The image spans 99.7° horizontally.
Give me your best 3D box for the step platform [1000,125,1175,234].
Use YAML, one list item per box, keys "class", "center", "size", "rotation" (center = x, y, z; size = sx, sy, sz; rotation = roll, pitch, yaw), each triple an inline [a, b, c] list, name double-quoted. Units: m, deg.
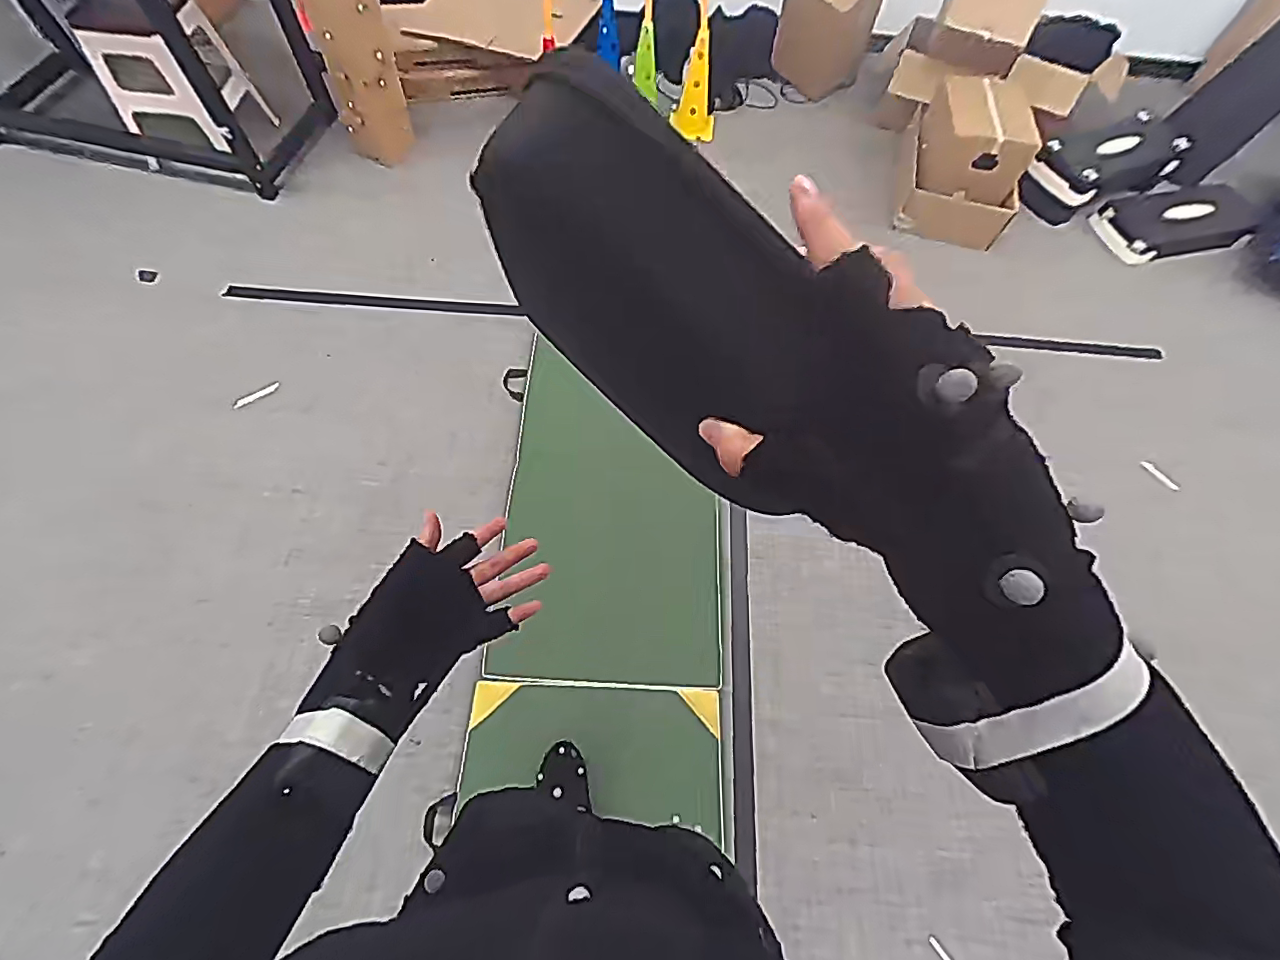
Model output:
- class: "step platform"
  center: [1.943, -1.310, 2.346]
  size: [0.684, 0.204, 0.286]
  rotation: [-23, 67, -14]
